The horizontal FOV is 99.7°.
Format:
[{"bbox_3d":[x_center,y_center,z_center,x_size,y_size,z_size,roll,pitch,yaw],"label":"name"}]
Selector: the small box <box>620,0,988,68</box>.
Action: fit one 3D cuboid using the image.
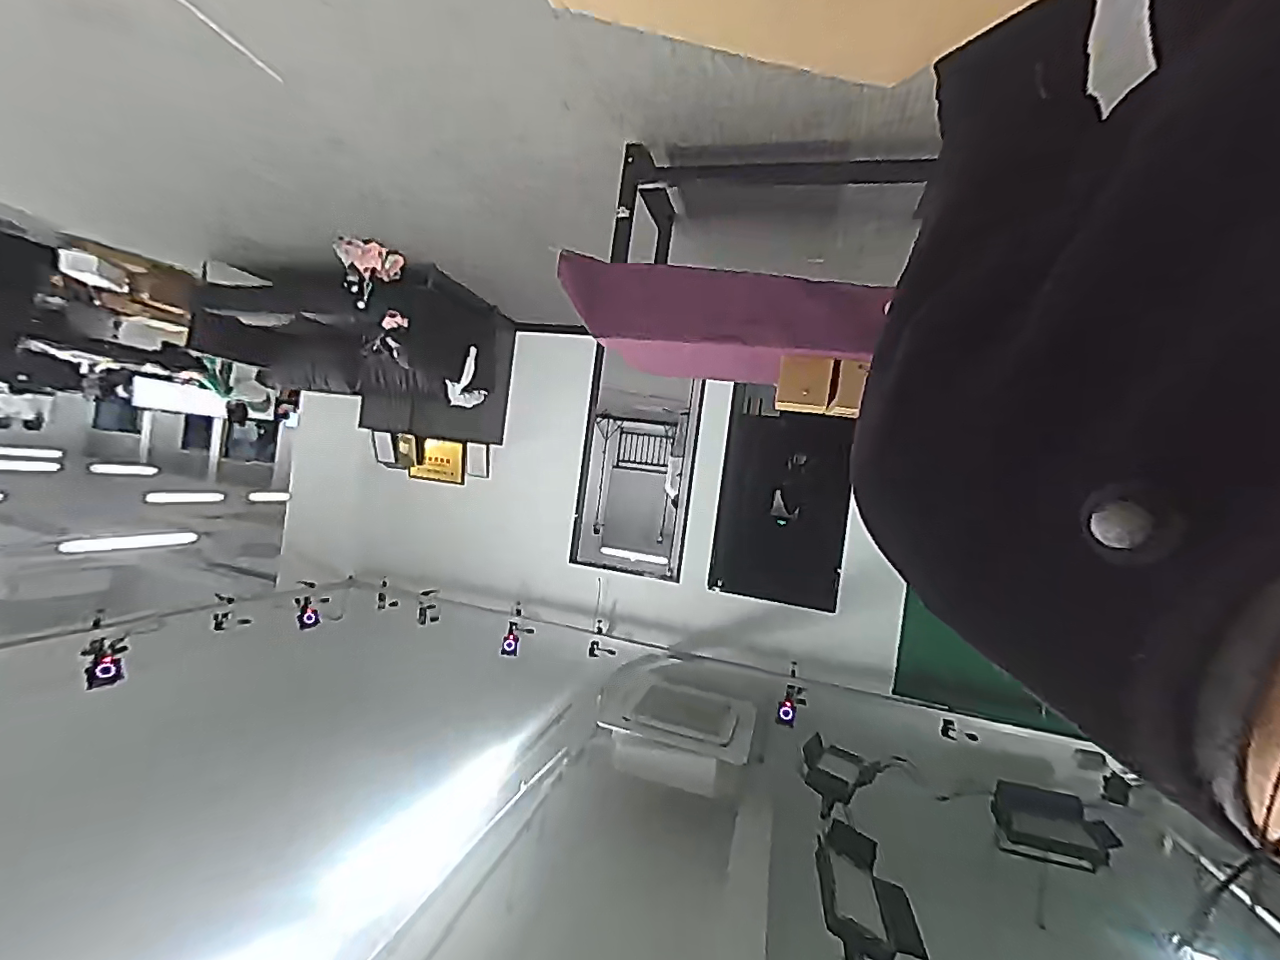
[{"bbox_3d":[0.062,-0.257,0.146,0.179,0.176,0.168,6,-161,-12],"label":"small box"}]
